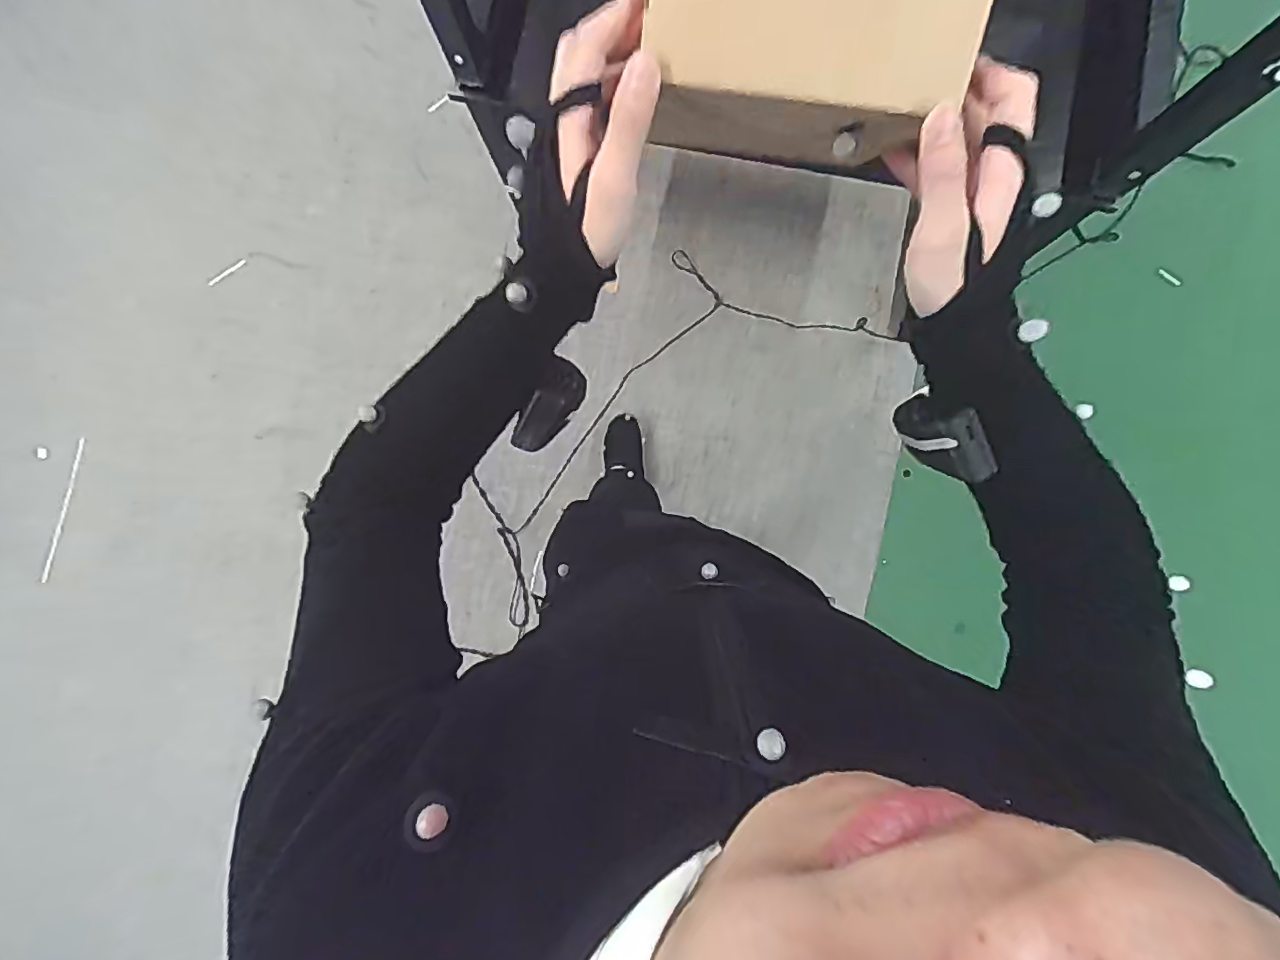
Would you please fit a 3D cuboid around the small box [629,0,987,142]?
[{"bbox_3d":[0.093,-0.315,0.319,0.179,0.176,0.168,7,113,0],"label":"small box"}]
